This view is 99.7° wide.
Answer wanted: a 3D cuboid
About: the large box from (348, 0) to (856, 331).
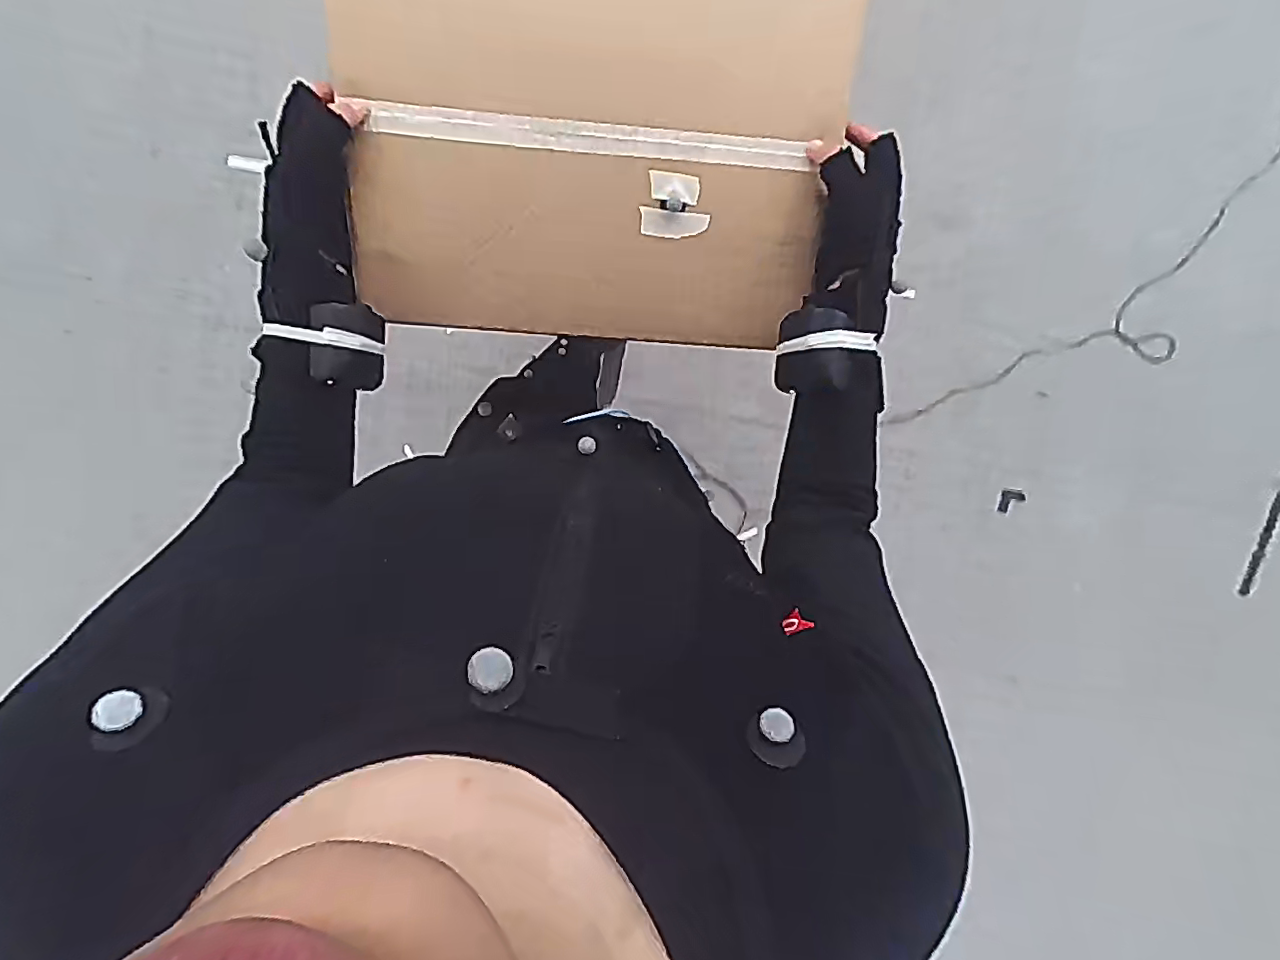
[{"bbox_3d":[-0.041,-0.343,0.592,0.408,0.320,0.320,2,111,-5],"label":"large box"}]
